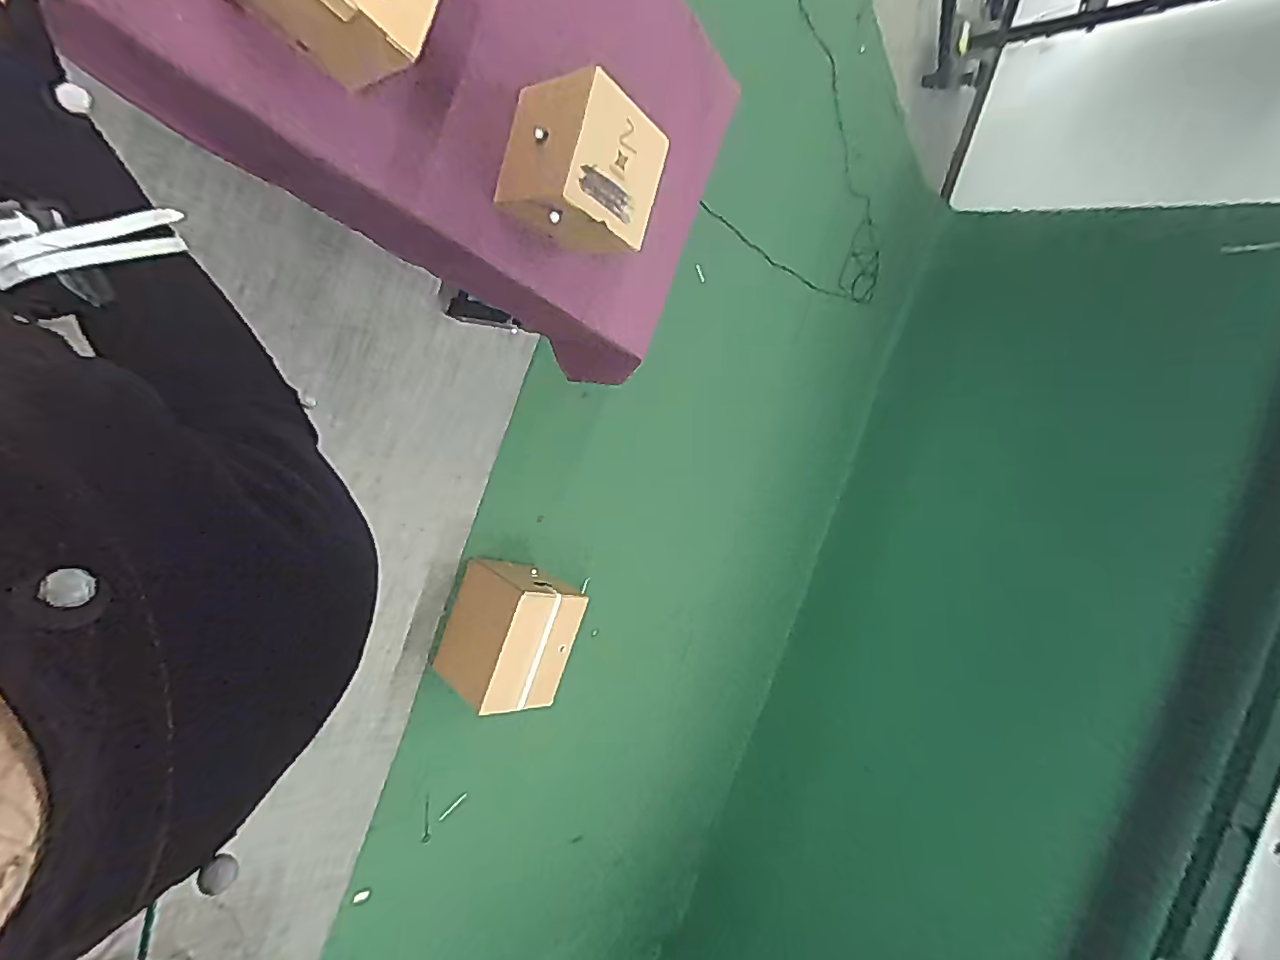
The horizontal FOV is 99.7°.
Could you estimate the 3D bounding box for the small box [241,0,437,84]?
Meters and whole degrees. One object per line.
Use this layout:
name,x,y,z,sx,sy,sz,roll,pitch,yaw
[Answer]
small box,-0.304,-0.539,0.532,0.168,0.176,0.179,20,90,-51
